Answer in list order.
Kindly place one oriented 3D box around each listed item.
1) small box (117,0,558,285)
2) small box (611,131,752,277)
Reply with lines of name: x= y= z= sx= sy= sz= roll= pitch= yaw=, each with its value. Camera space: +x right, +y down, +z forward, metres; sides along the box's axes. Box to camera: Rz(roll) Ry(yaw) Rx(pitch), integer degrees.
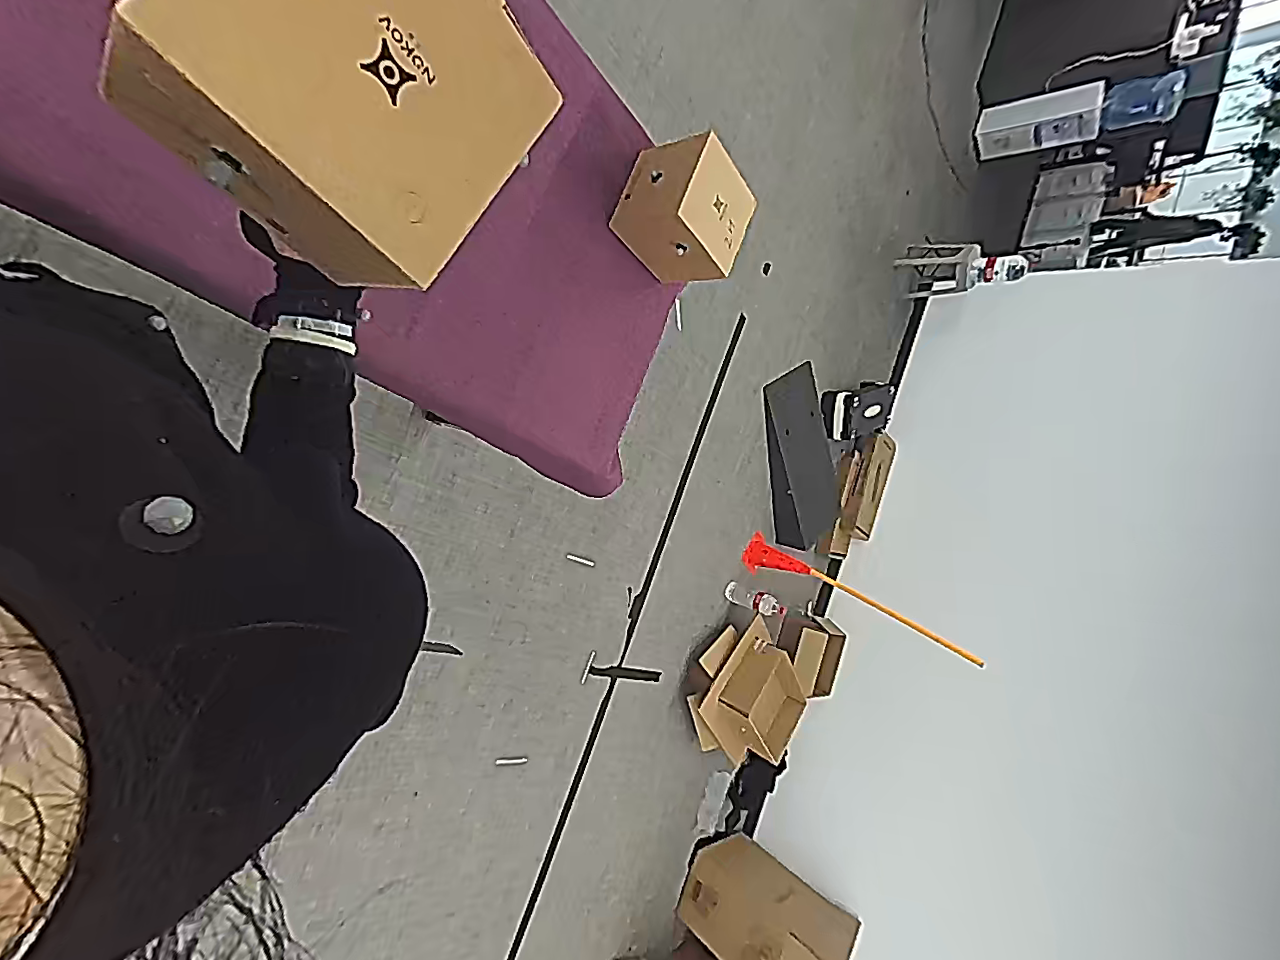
small box: x=-0.196 y=-0.252 z=0.362 sx=0.168 sy=0.176 sz=0.179 roll=42 pitch=72 yaw=-46
small box: x=0.075 y=-0.496 z=1.006 sx=0.179 sy=0.176 sz=0.168 roll=30 pitch=80 yaw=-48
